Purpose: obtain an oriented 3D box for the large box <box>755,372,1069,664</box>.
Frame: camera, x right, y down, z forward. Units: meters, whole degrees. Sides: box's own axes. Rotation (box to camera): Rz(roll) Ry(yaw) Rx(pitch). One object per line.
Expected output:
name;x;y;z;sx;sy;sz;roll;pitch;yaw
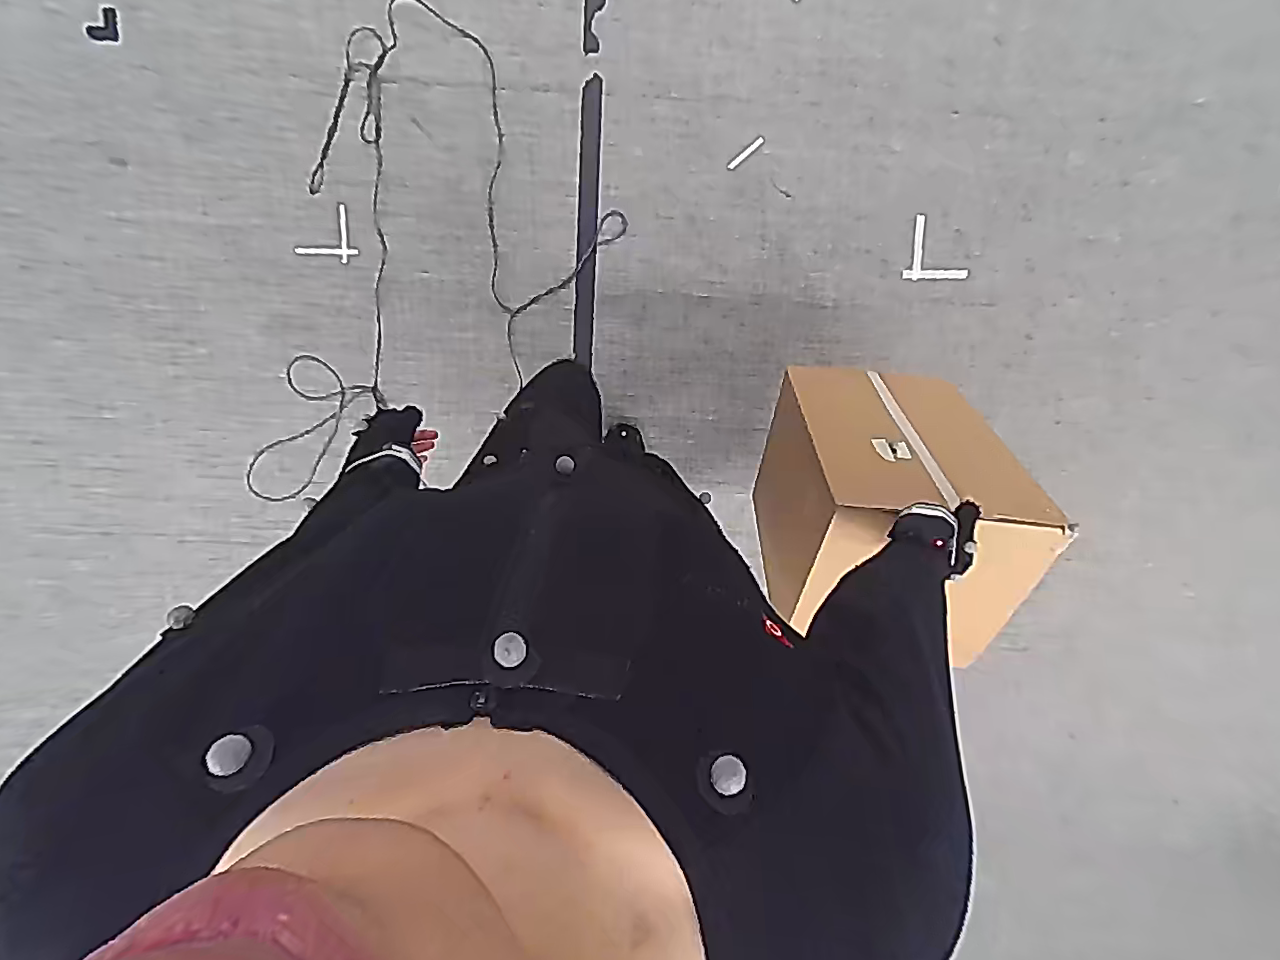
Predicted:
large box;0.408;0.053;0.953;0.320;0.408;0.320;5;129;0
